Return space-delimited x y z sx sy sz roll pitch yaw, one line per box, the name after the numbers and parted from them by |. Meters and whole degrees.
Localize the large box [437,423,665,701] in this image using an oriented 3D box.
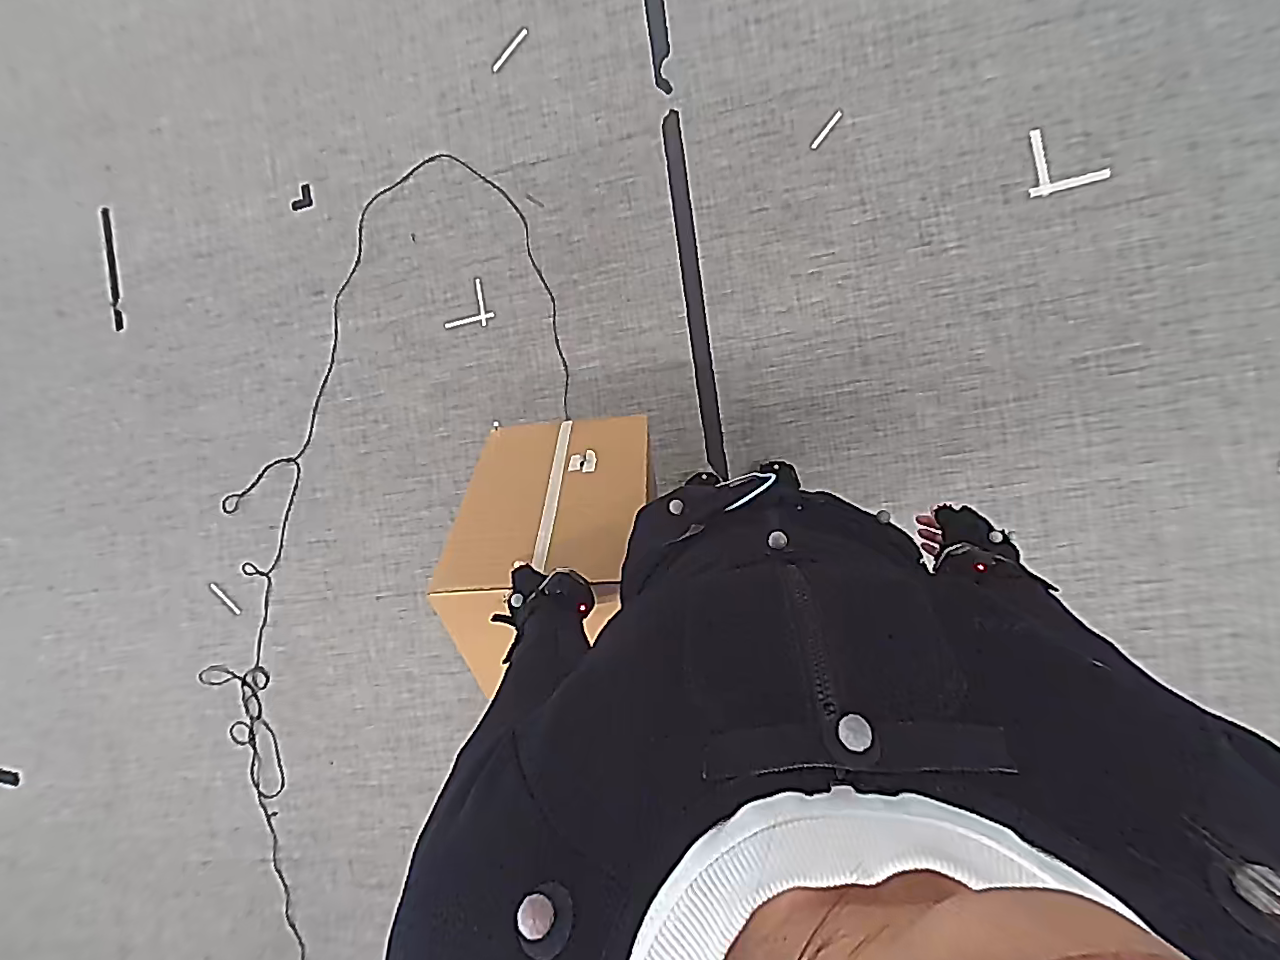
-0.125 0.142 1.004 0.320 0.408 0.320 -4 129 4 | large box
